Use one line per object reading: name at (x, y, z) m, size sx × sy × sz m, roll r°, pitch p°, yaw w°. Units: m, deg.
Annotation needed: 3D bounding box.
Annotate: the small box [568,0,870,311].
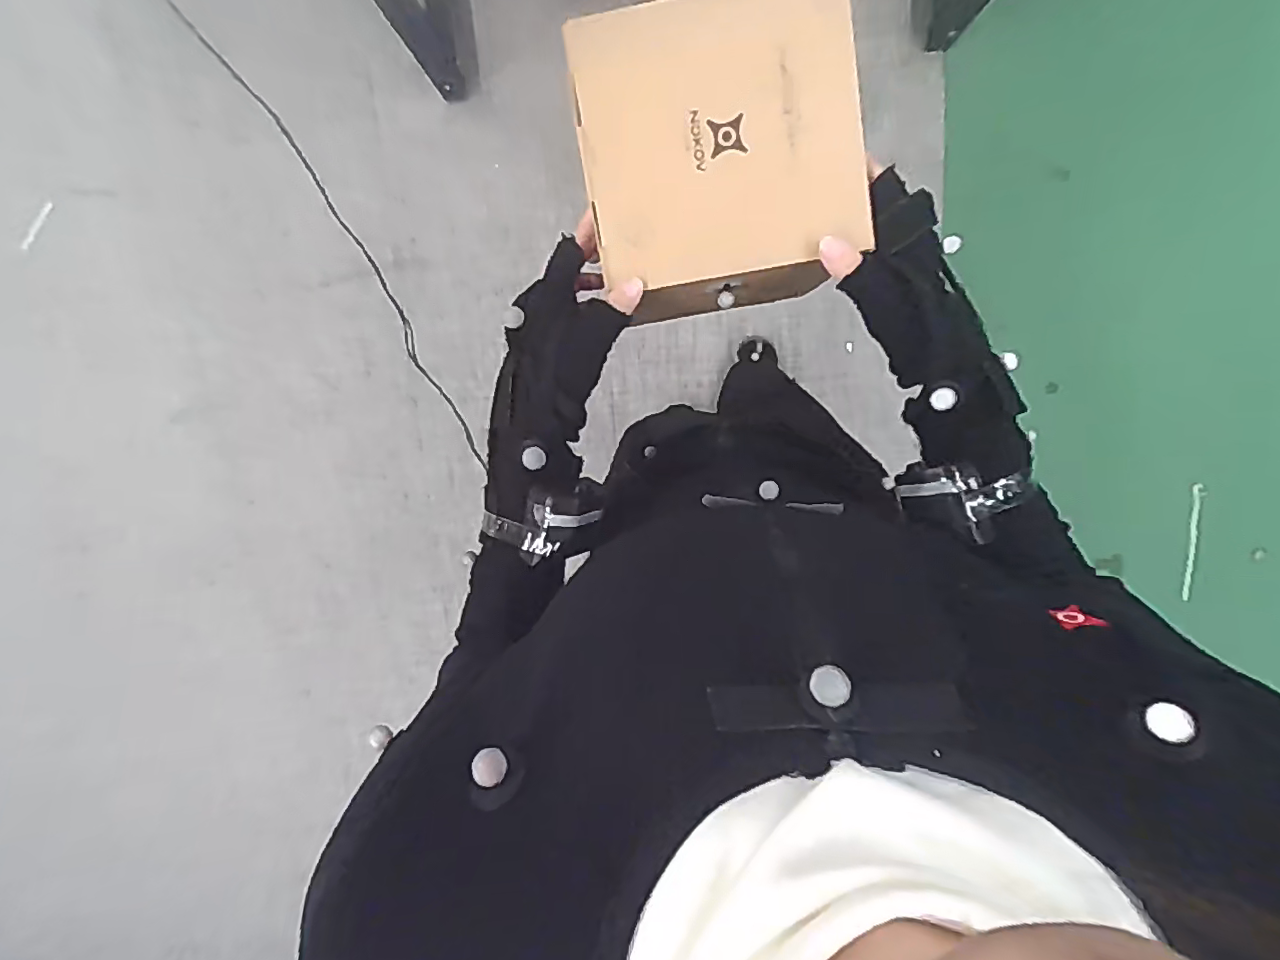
small box at (0.055, -0.241, 0.427) m, size 0.179 × 0.176 × 0.168 m, roll -10°, pitch 99°, yaw 2°
